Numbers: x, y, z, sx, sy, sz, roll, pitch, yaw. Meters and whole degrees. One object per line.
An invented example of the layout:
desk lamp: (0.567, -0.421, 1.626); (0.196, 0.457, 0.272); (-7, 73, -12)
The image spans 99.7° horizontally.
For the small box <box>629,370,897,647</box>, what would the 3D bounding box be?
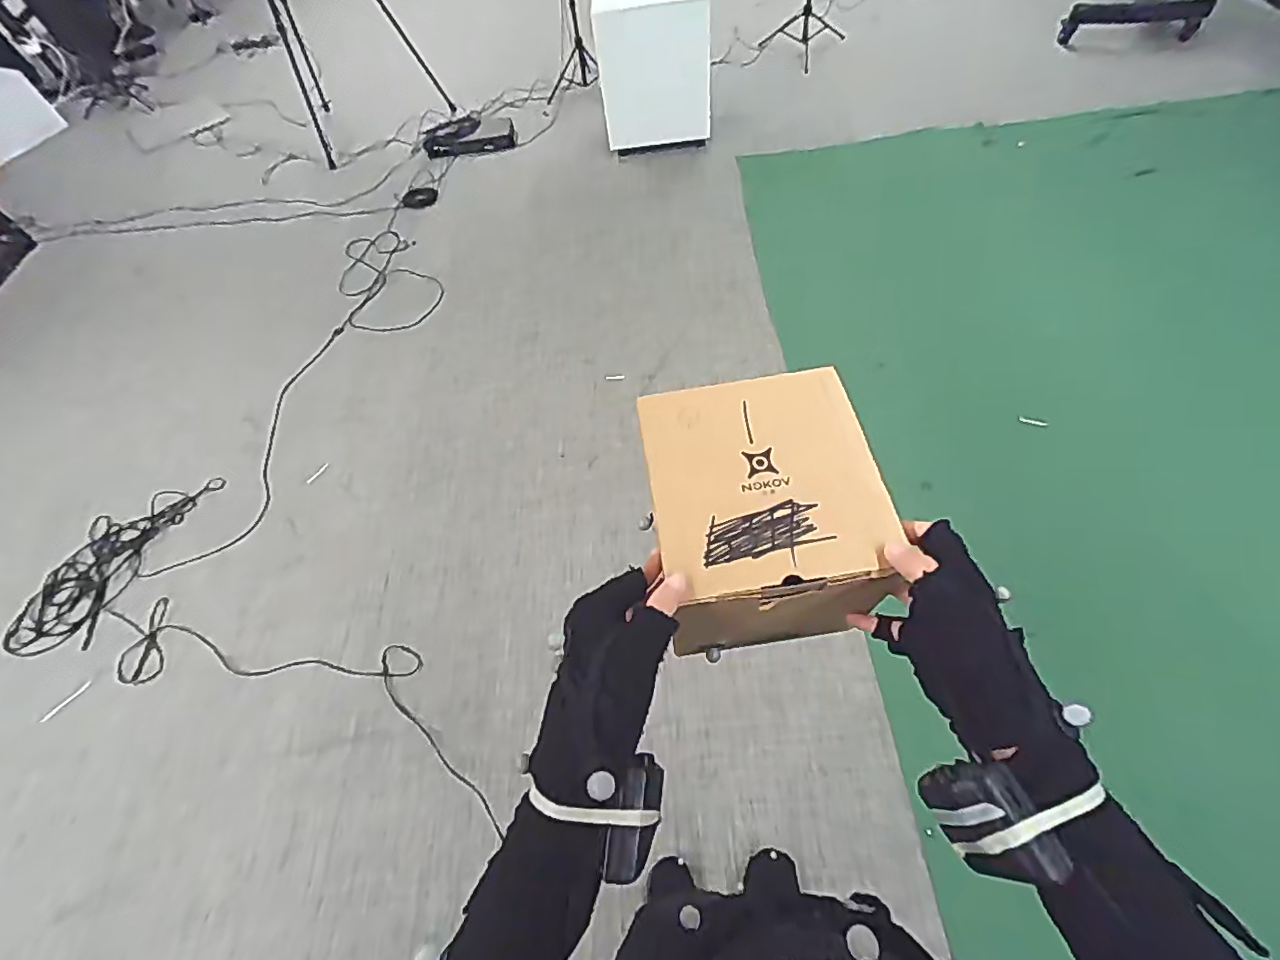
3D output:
small box: (0.088, 0.036, 0.465); (0.168, 0.176, 0.179); (-9, 60, 1)
